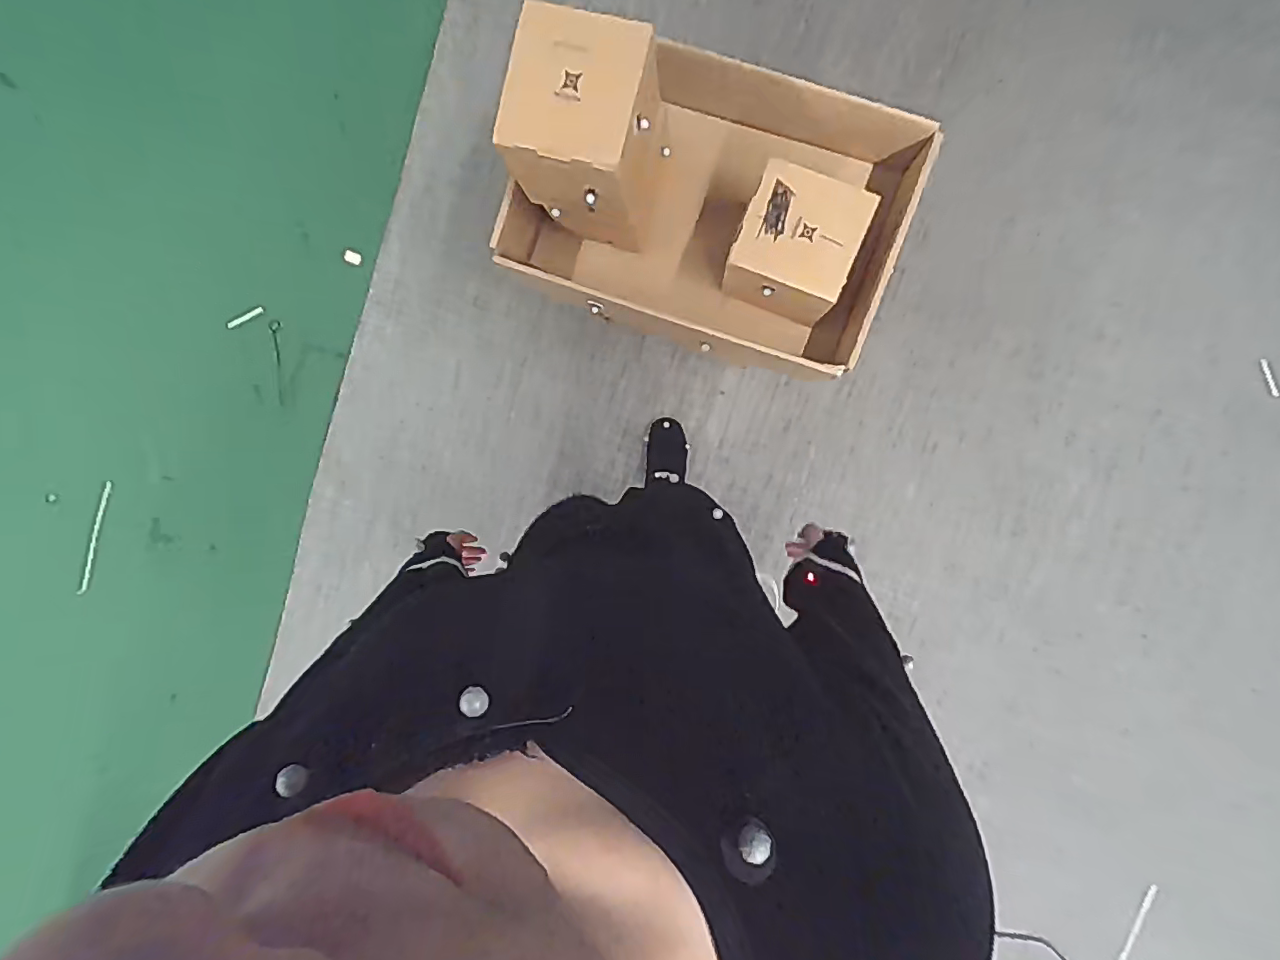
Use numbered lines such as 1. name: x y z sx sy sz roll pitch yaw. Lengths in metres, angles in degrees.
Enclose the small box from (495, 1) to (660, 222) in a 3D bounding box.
1. small box: -0.073 -0.482 0.737 0.168 0.176 0.179 16 95 4
